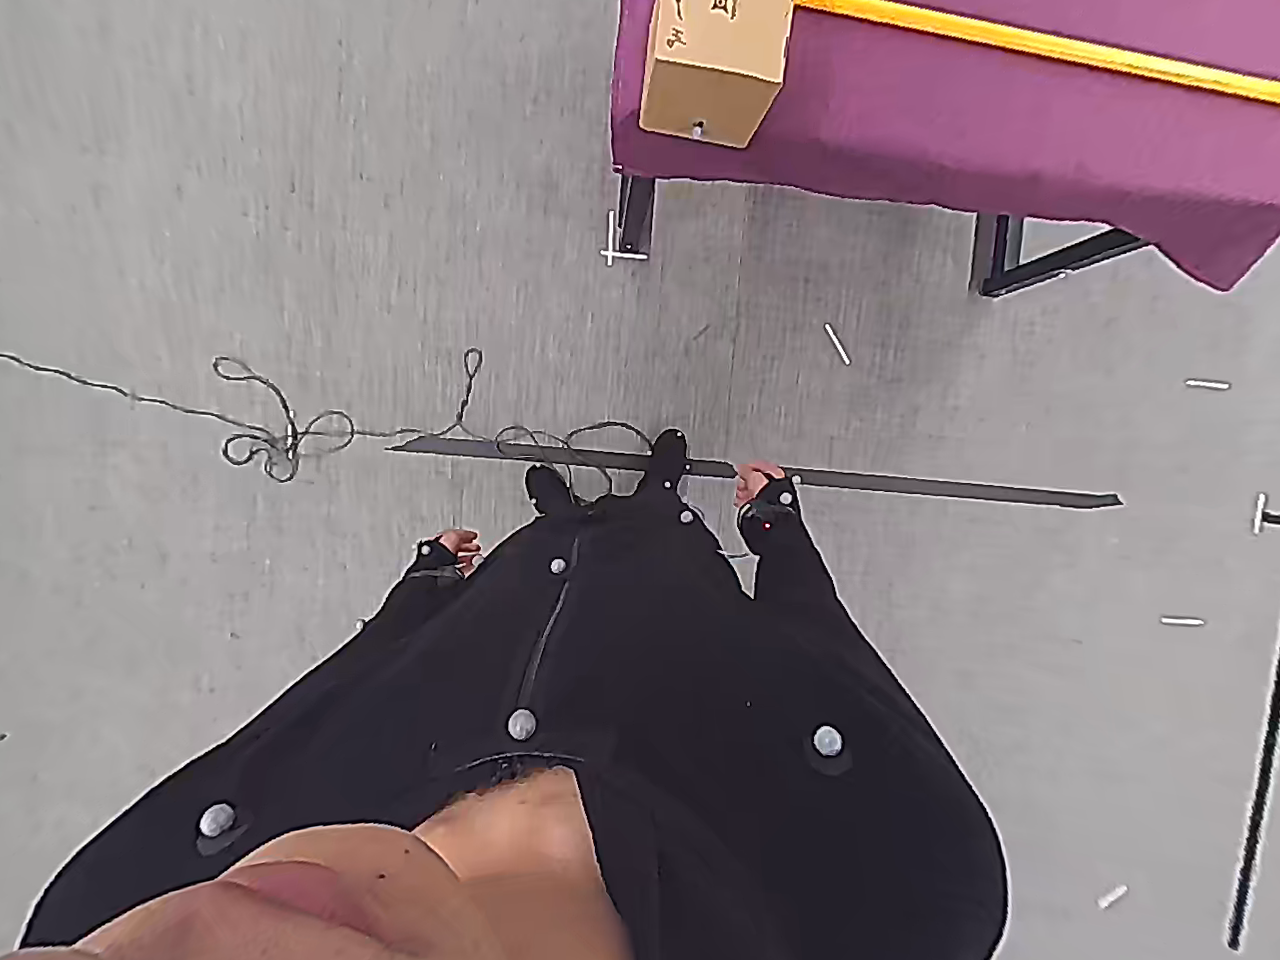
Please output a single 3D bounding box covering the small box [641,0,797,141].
[{"bbox_3d":[0.106,-0.617,0.769,0.179,0.176,0.168,6,95,-7],"label":"small box"}]
